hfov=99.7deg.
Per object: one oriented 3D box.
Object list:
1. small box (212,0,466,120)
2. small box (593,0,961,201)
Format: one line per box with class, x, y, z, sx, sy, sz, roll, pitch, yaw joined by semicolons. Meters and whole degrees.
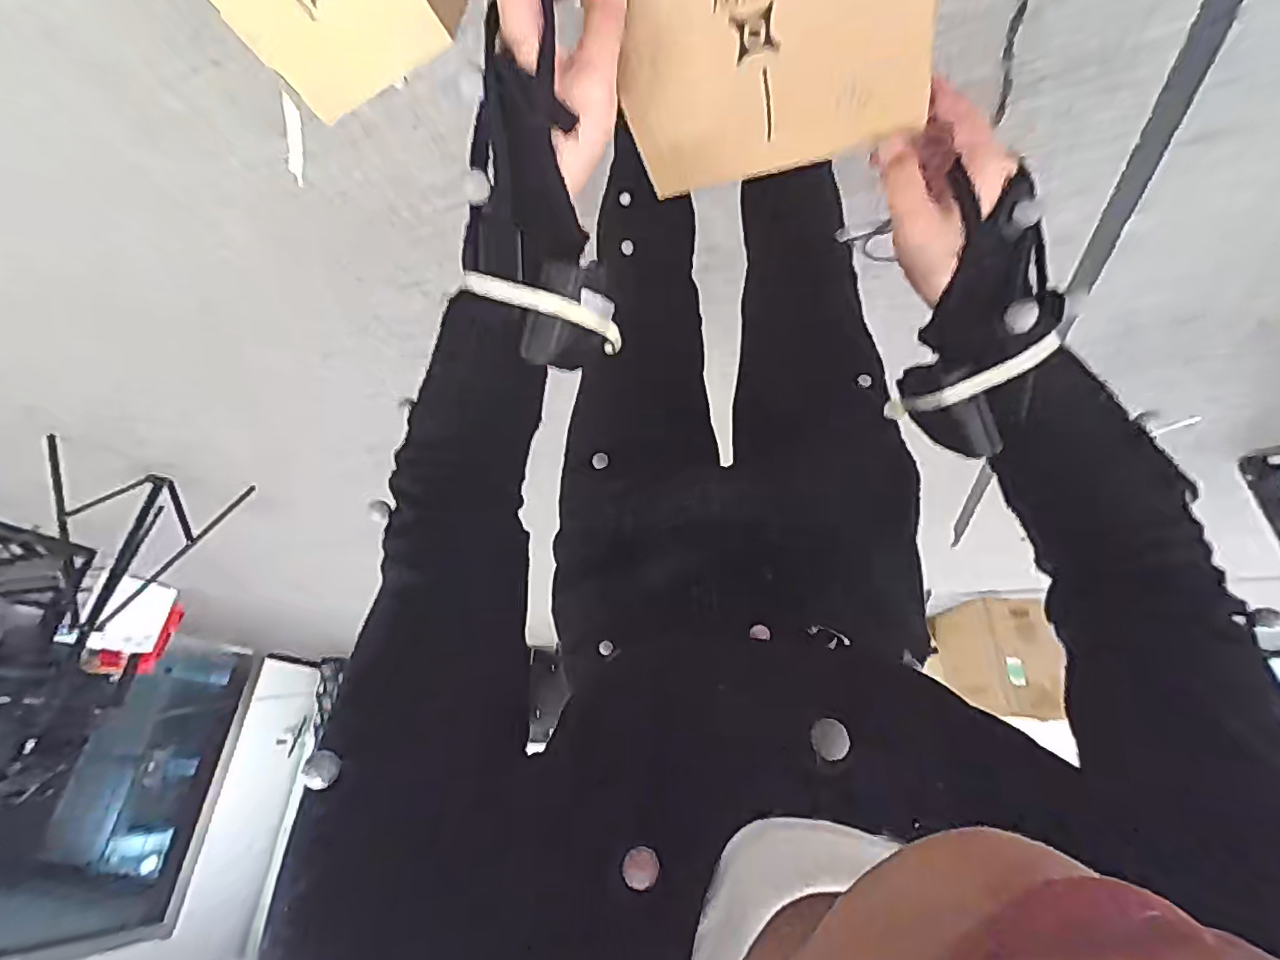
small box;-0.269;-0.480;0.480;0.179;0.176;0.168;-10;150;25
small box;0.073;-0.295;0.288;0.168;0.176;0.179;-1;156;22
